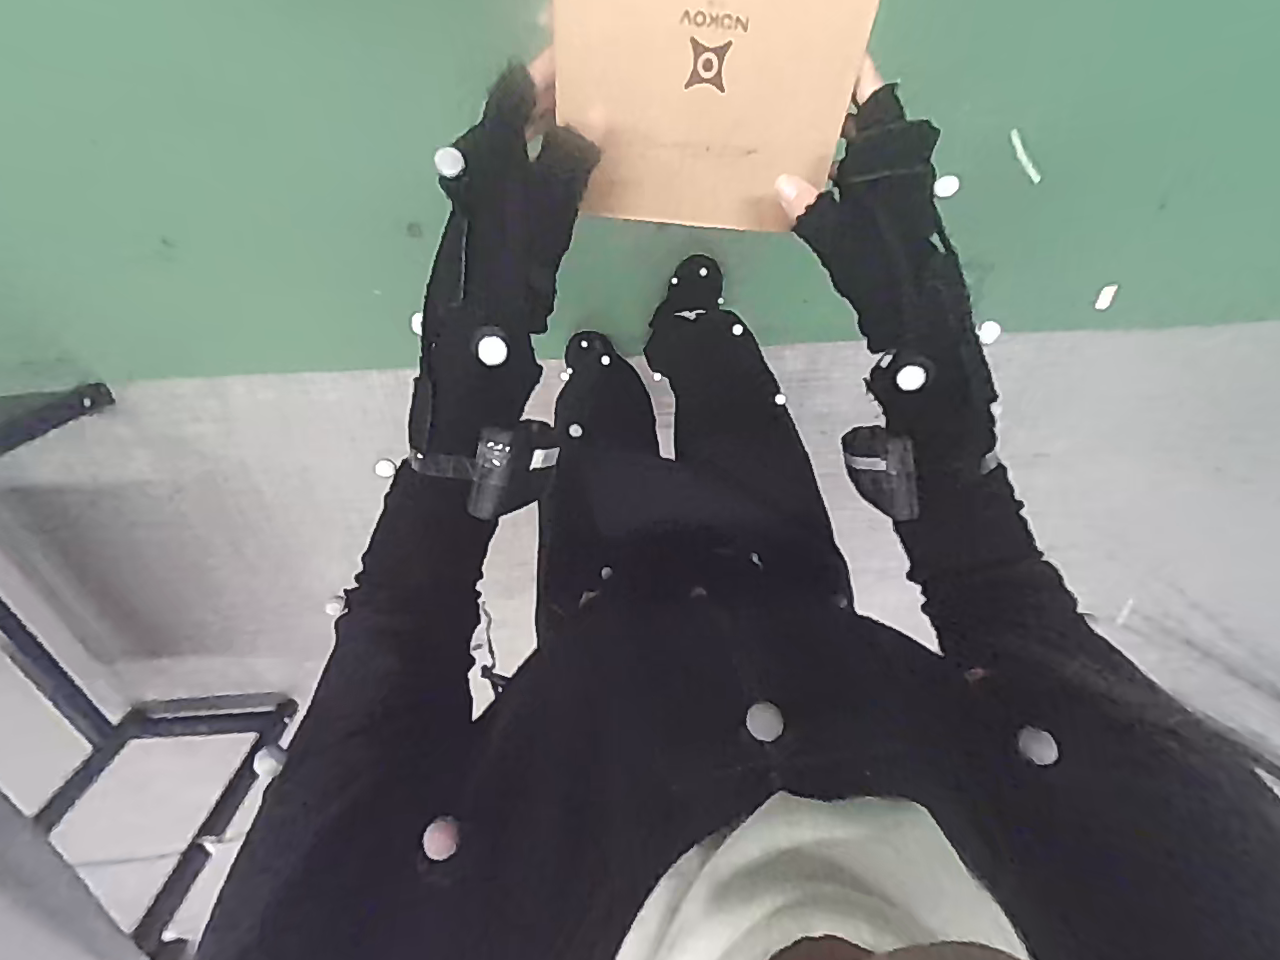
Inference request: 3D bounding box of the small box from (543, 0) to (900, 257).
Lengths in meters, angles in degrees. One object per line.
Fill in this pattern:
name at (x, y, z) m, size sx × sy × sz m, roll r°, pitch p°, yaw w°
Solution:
small box at (0.036, -0.260, 0.323) m, size 0.168 × 0.176 × 0.179 m, roll 6°, pitch 133°, yaw -3°
